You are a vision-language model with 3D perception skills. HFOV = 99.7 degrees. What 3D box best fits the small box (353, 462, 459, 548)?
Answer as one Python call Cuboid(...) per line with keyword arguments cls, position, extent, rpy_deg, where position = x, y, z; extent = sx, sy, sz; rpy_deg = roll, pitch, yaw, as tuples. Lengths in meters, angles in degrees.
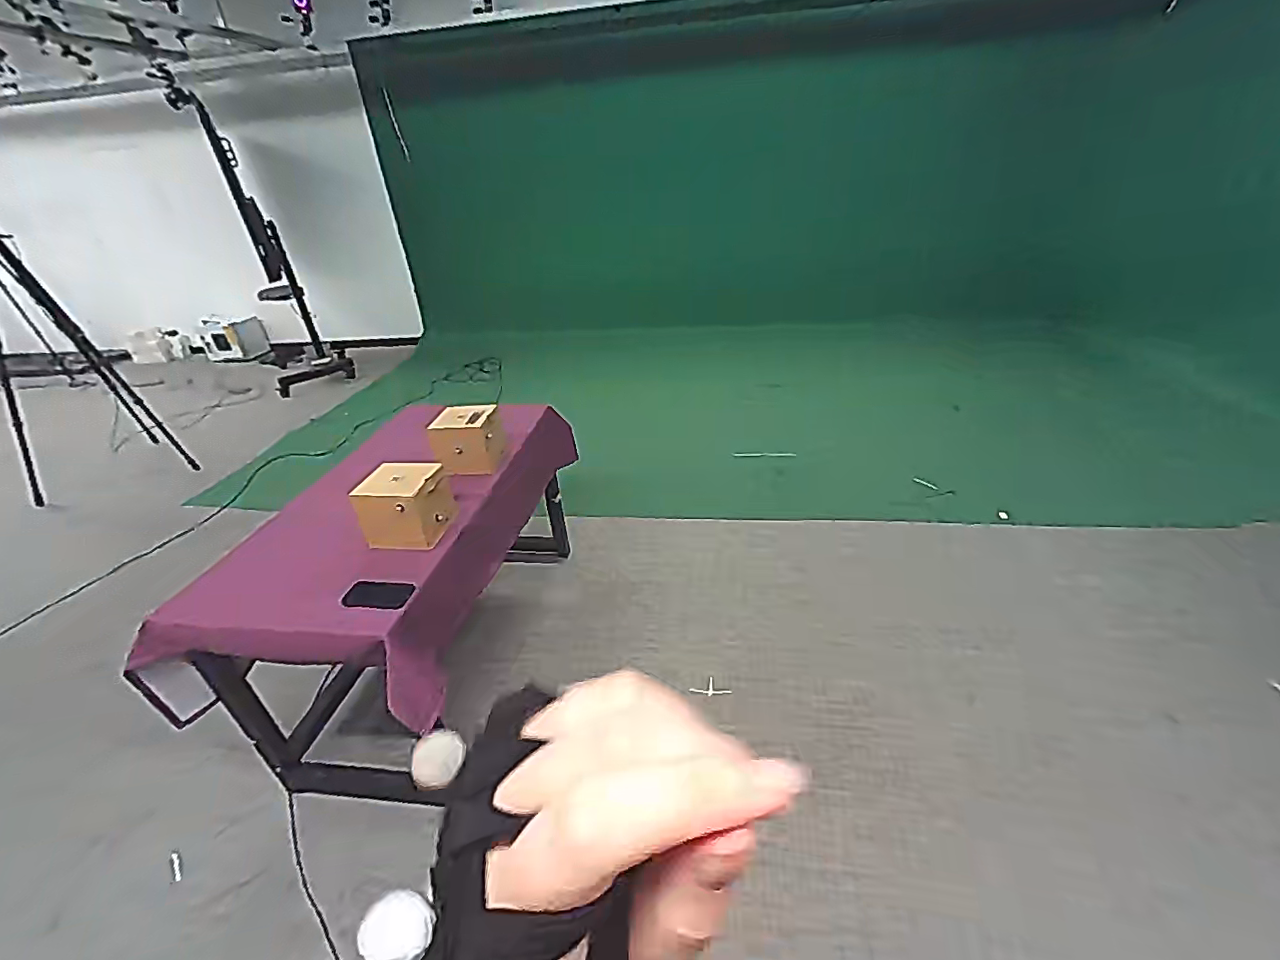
Cuboid(cls="small box", position=(-0.605, 0.065, 1.420), extent=(0.179, 0.176, 0.168), rpy_deg=(2, 31, 9))
